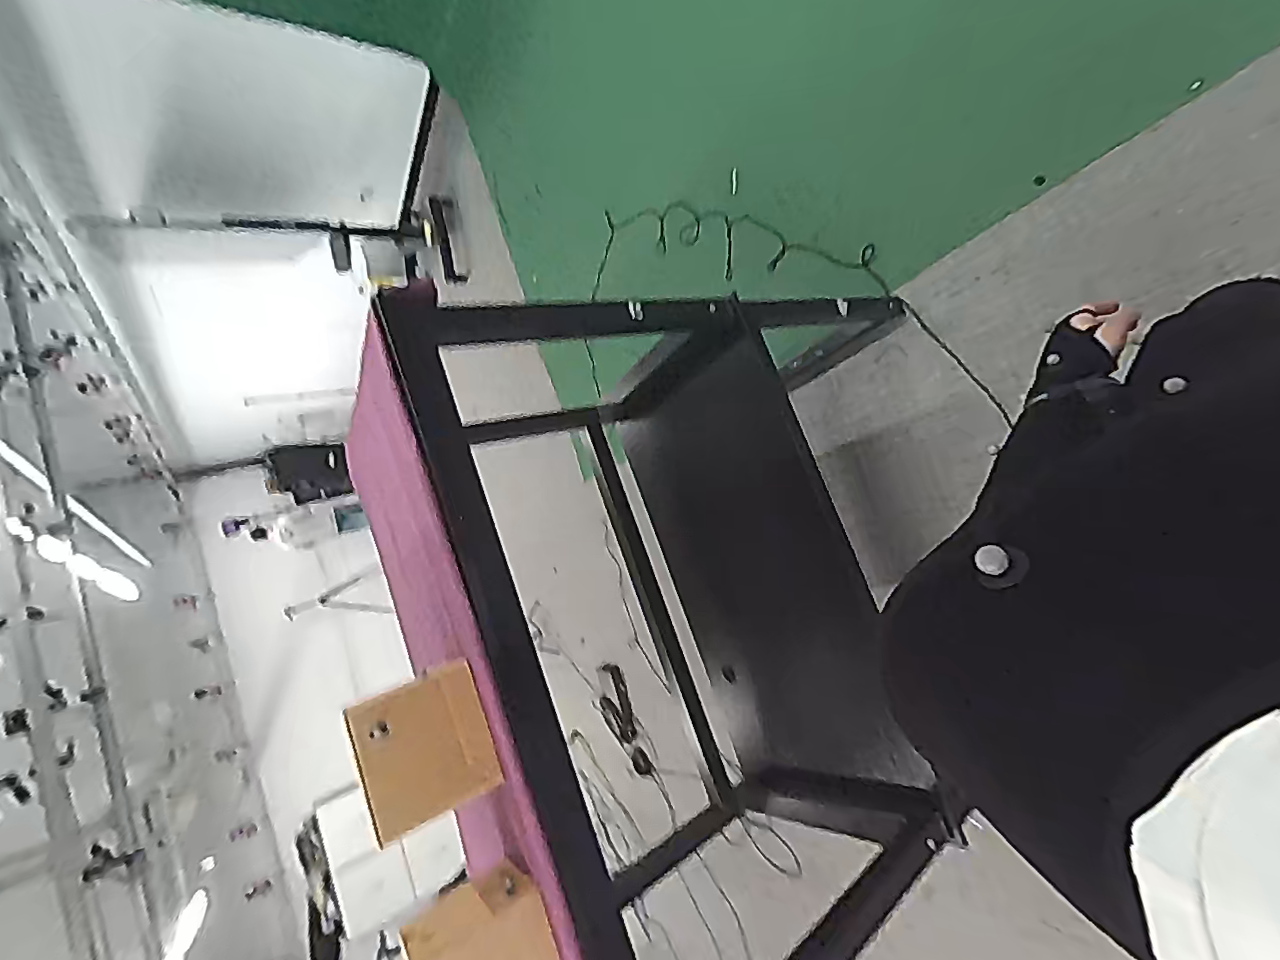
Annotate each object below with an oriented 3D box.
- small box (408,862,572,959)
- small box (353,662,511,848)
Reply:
[{"bbox_3d":[-0.196,0.671,0.740,0.168,0.176,0.179,-37,73,54],"label":"small box"},{"bbox_3d":[-0.306,0.387,0.794,0.168,0.176,0.179,-34,74,55],"label":"small box"}]
